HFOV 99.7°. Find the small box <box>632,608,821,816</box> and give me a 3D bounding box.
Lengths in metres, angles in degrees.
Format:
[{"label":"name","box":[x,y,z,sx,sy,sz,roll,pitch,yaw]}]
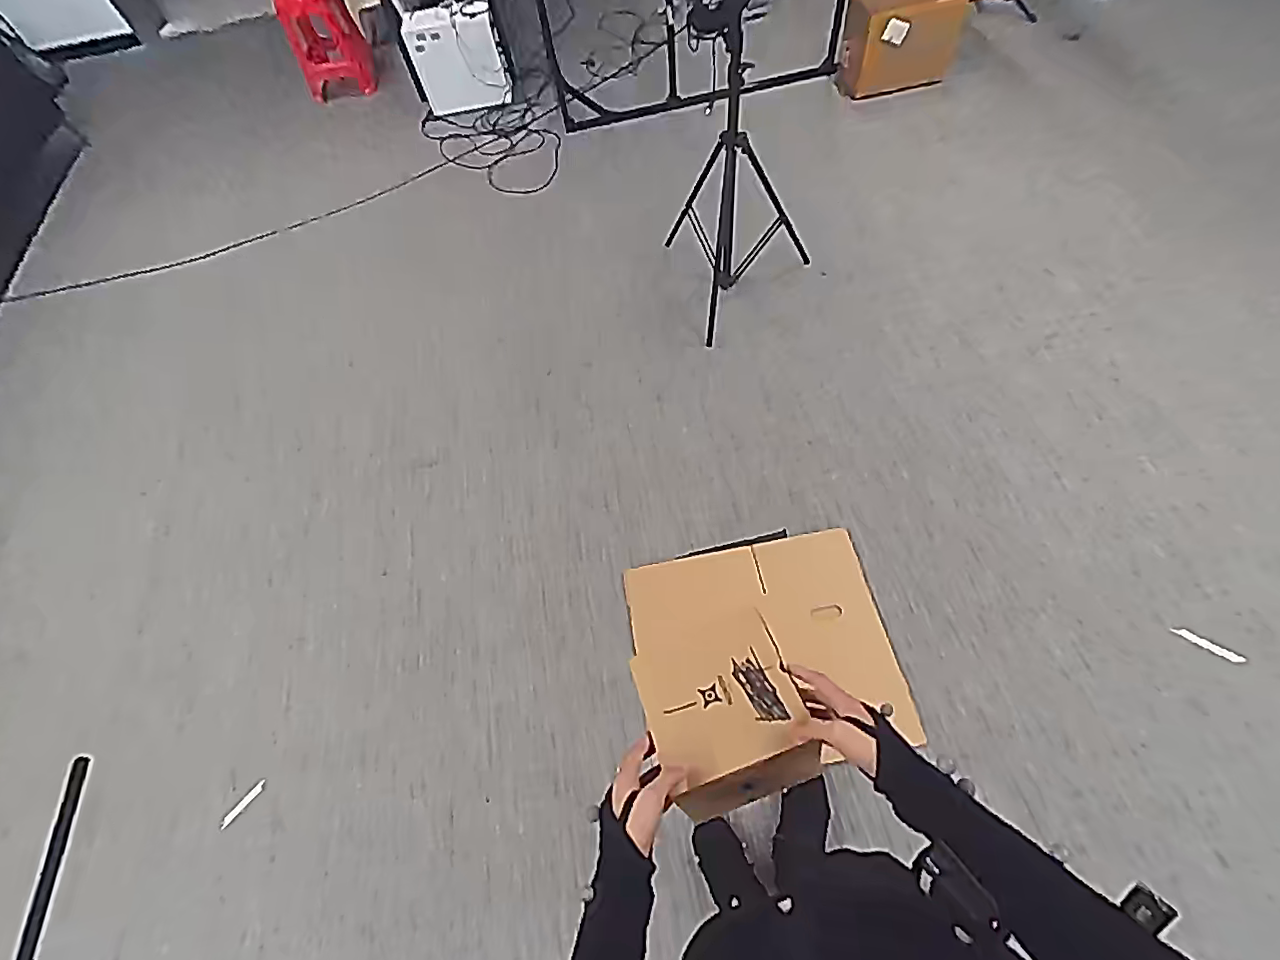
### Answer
[{"label":"small box","box":[0.109,0.296,0.684,0.179,0.176,0.168,-21,47,-1]}]
